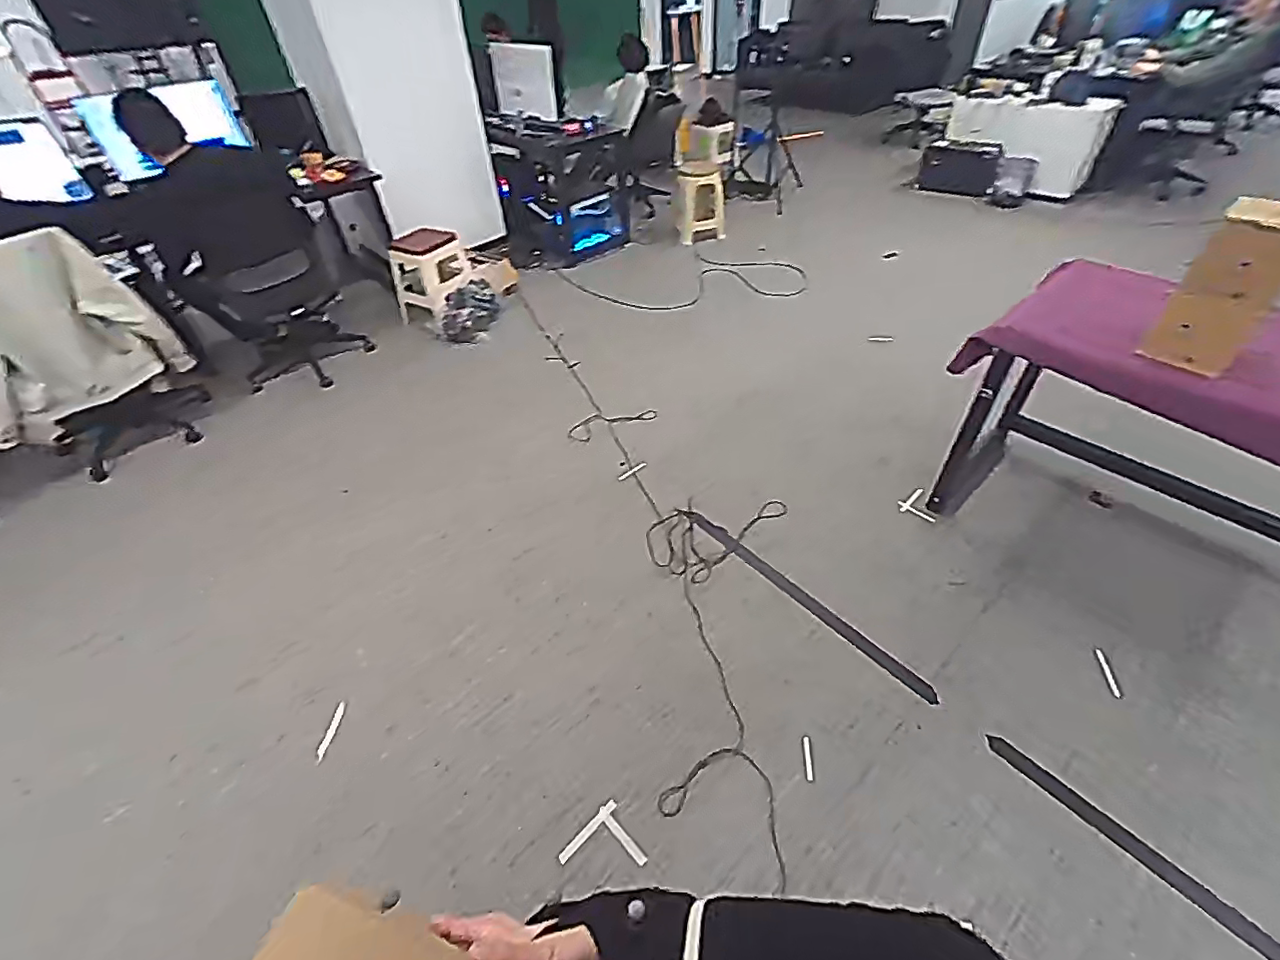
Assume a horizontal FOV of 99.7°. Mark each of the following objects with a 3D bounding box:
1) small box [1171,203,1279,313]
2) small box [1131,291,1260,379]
[{"bbox_3d":[1.346,-0.493,1.205,0.179,0.176,0.168,-33,51,-28],"label":"small box"},{"bbox_3d":[1.352,-0.370,1.314,0.179,0.176,0.168,-32,50,-27],"label":"small box"}]
